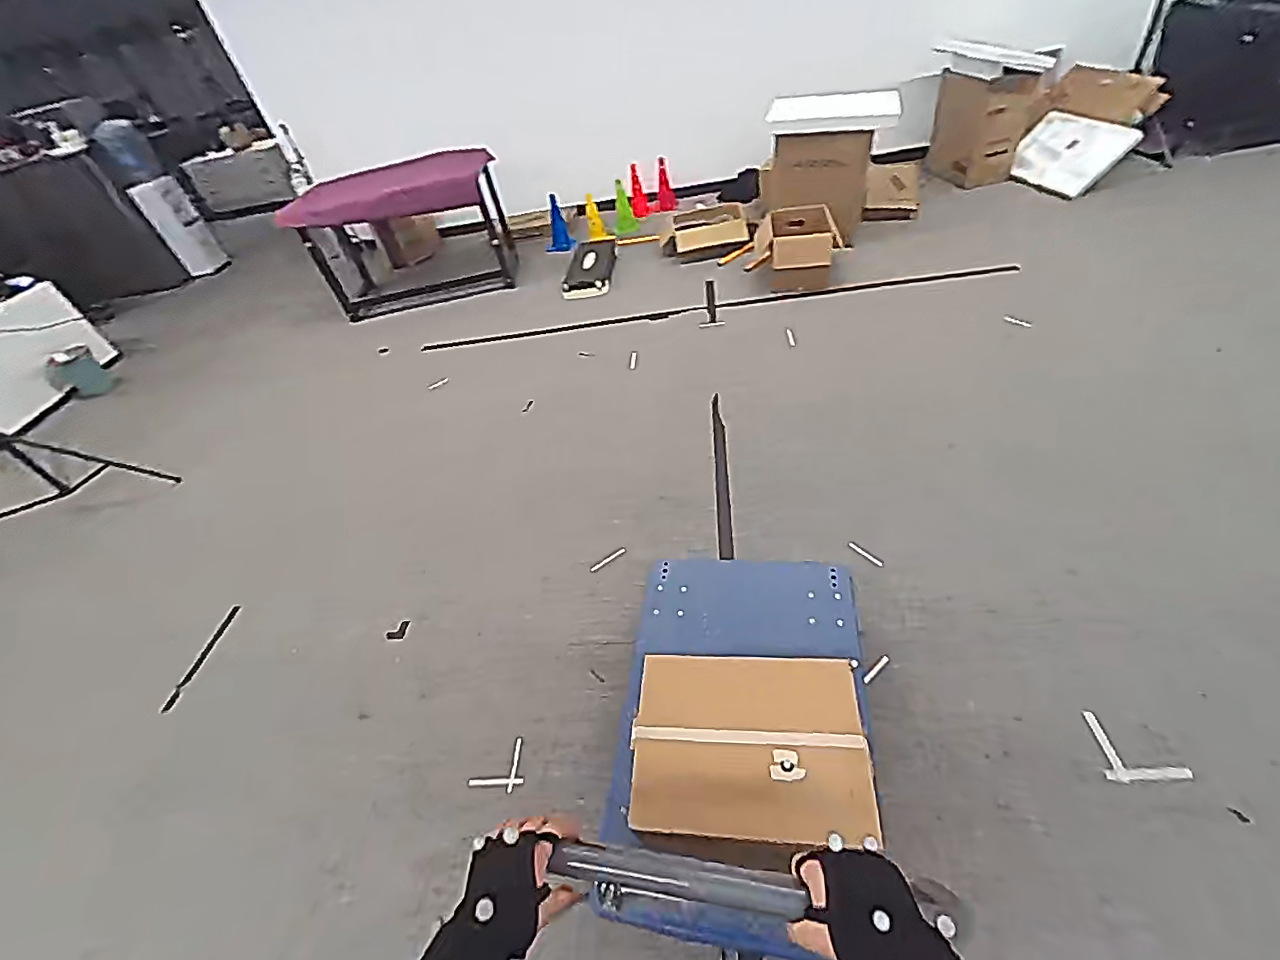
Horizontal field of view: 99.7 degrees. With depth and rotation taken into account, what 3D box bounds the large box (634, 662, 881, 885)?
[{"bbox_3d":[0.216,0.581,1.080,0.408,0.320,0.320,-2,45,10],"label":"large box"}]
